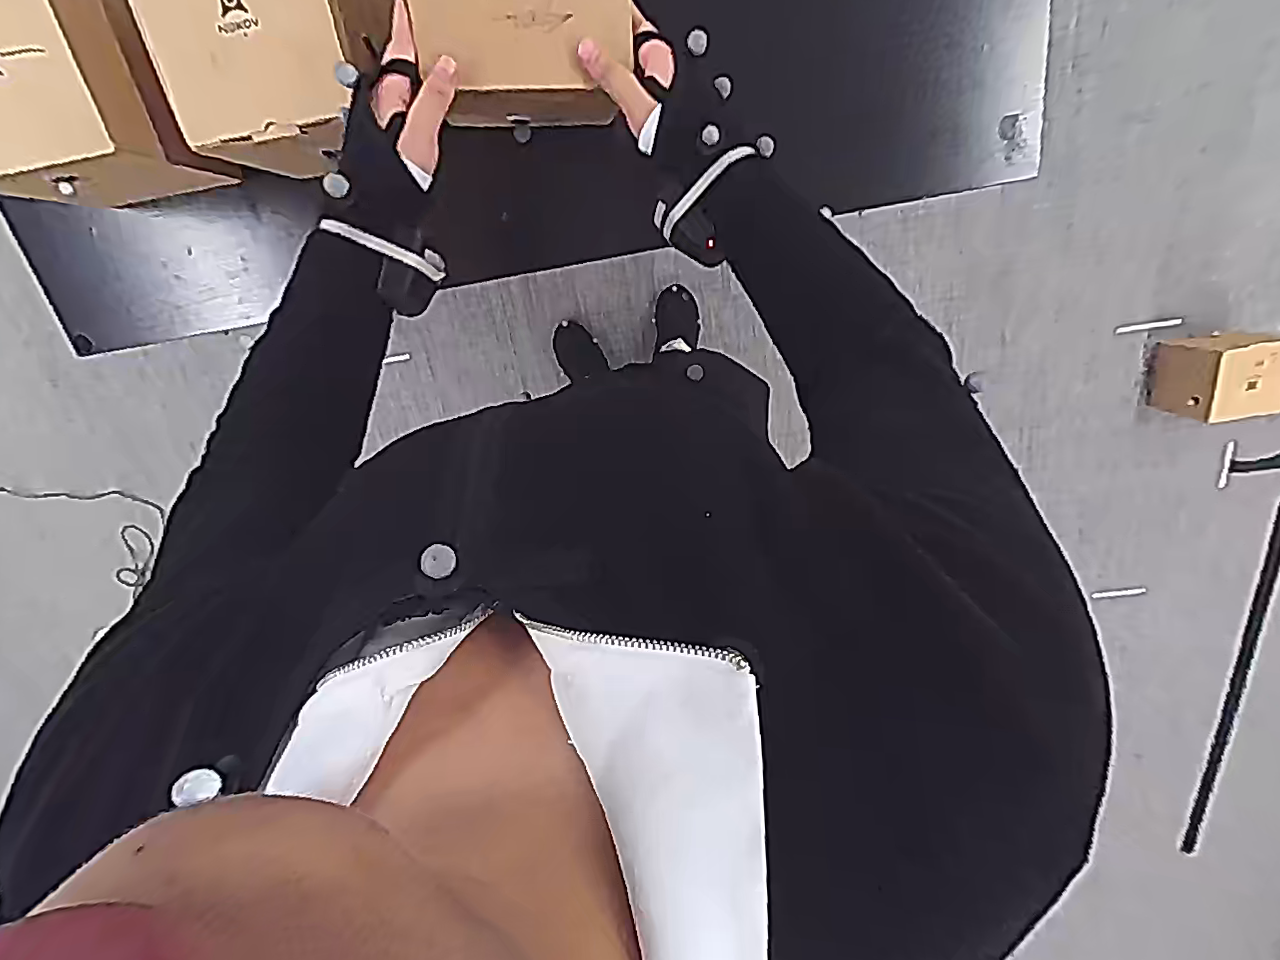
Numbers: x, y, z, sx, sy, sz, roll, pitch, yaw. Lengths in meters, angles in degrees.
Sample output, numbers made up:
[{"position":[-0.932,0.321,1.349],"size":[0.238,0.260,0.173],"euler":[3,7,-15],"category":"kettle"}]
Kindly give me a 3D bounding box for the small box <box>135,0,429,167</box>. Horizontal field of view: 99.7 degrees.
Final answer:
[{"position":[-0.329,-0.416,0.521],"size":[0.168,0.176,0.179],"euler":[-7,112,4],"category":"small box"}]

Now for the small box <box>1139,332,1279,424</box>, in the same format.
[{"position":[1.390,-0.255,1.332],"size":[0.168,0.176,0.179],"euler":[-9,111,5],"category":"small box"}]

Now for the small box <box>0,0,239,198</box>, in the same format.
[{"position":[-0.560,-0.390,0.535],"size":[0.179,0.176,0.168],"euler":[-8,111,3],"category":"small box"}]

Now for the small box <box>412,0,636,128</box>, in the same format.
[{"position":[-0.100,-0.415,0.456],"size":[0.168,0.176,0.179],"euler":[-6,116,-9],"category":"small box"}]
